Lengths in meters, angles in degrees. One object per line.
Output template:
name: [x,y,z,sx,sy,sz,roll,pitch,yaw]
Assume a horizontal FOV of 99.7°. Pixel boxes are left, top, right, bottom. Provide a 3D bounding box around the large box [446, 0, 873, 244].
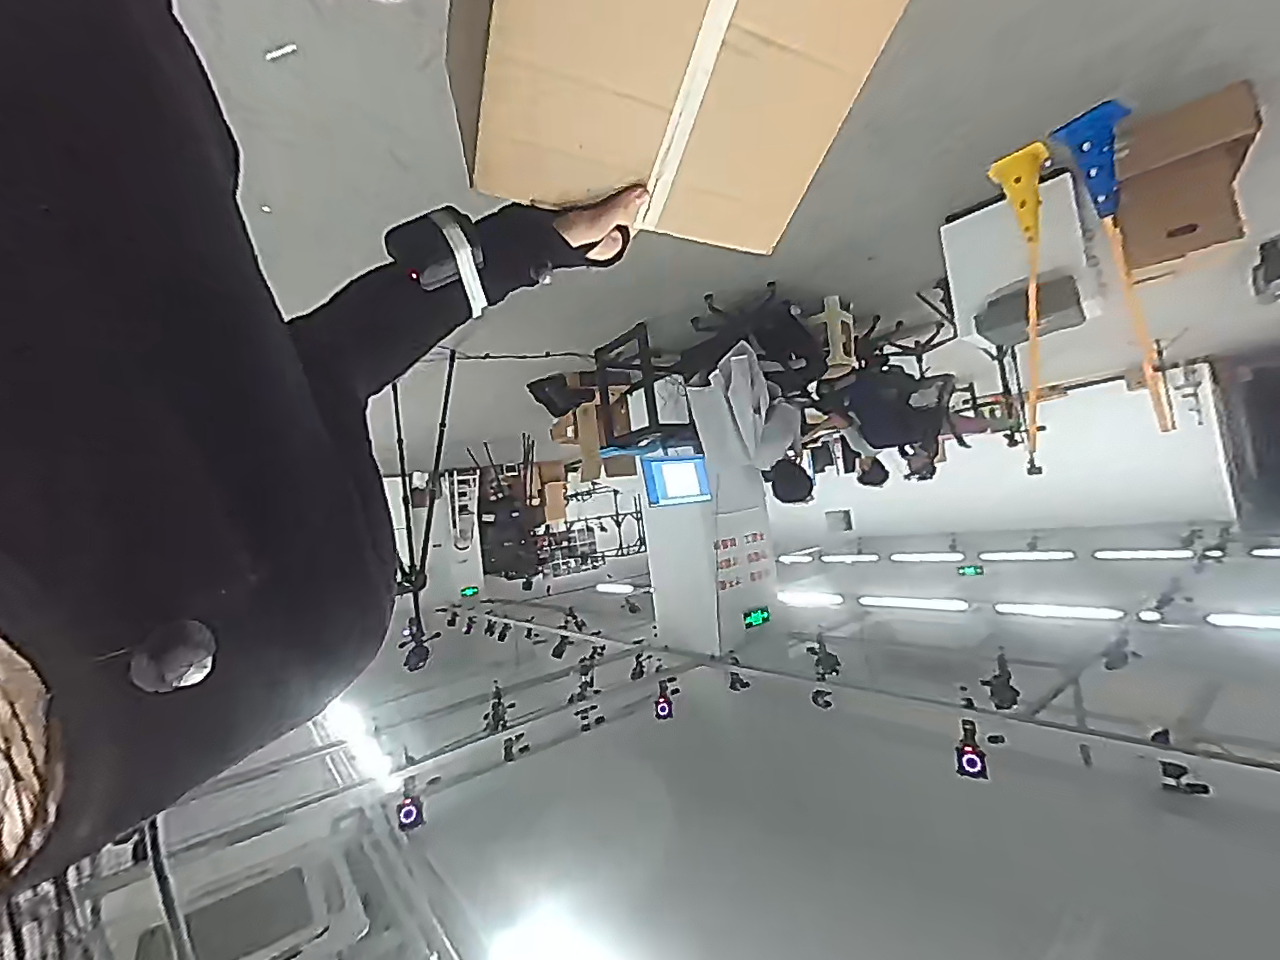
large box: [0.007,-0.492,0.470,0.320,0.320,0.408,0,140,-25]
